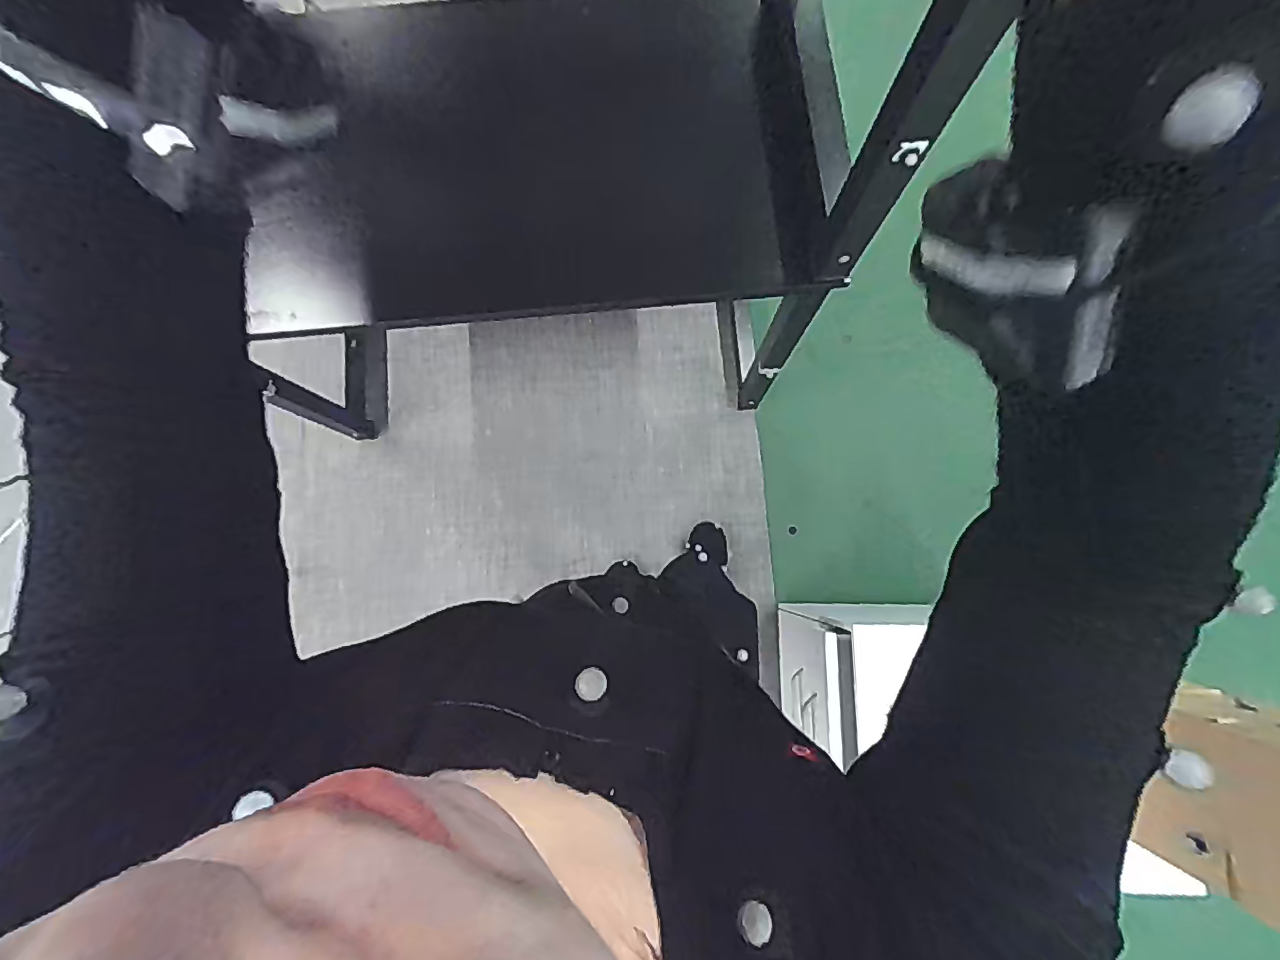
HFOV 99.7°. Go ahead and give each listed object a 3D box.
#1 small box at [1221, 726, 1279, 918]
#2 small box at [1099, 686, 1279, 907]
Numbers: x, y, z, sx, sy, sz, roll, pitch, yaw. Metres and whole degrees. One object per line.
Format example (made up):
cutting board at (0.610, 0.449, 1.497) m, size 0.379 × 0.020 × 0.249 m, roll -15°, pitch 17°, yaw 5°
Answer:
small box at (0.658, 0.315, 0.452) m, size 0.168 × 0.176 × 0.179 m, roll -4°, pitch 82°, yaw 2°
small box at (0.669, 0.344, 0.613) m, size 0.168 × 0.176 × 0.179 m, roll 3°, pitch 82°, yaw 2°
